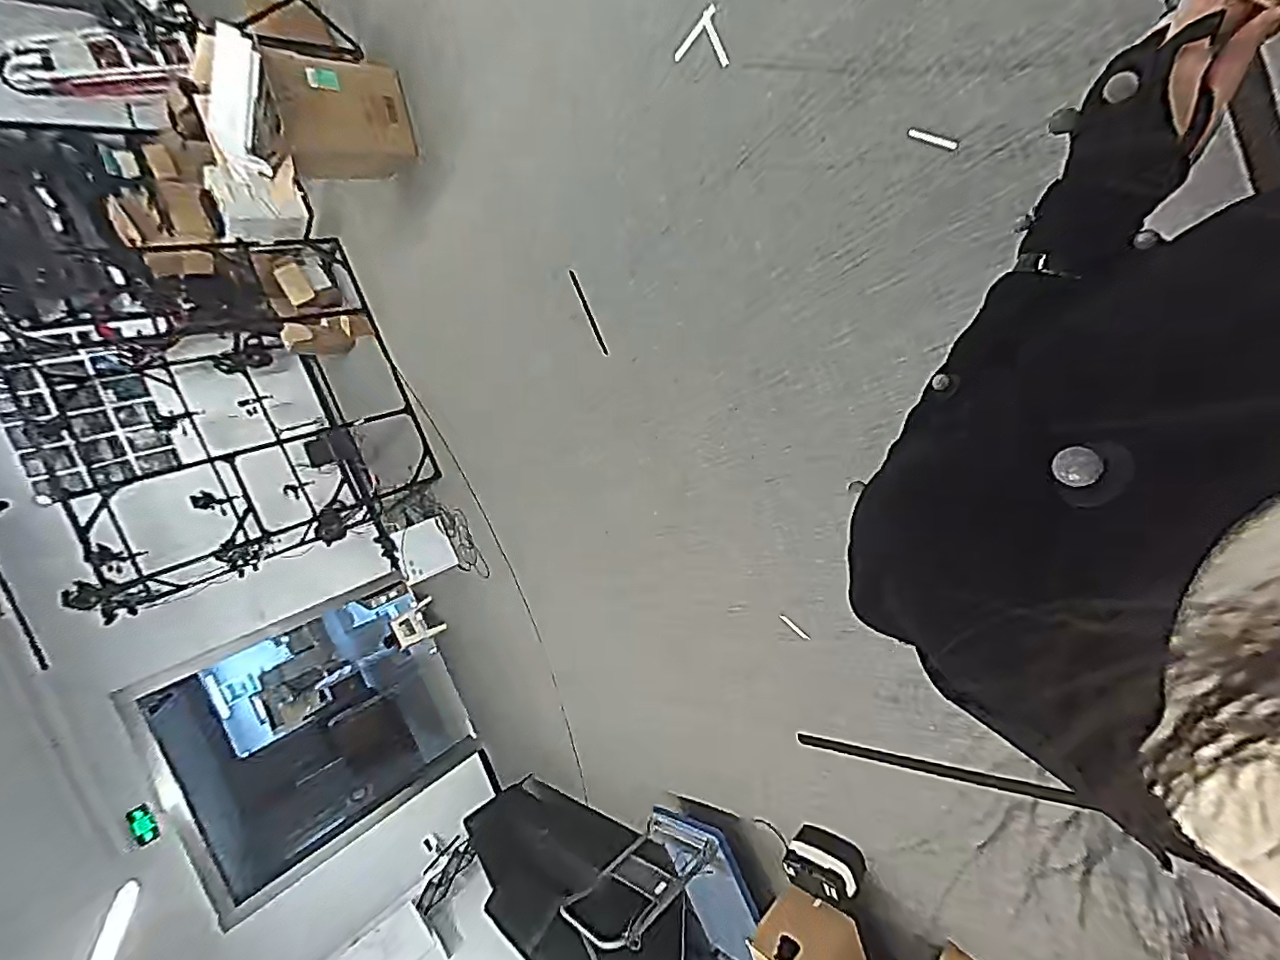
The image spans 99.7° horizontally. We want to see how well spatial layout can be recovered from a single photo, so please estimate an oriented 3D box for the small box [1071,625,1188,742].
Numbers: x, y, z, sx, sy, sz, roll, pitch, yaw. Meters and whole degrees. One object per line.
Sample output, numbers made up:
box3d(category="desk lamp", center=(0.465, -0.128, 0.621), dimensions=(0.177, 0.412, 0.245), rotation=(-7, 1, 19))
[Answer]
box3d(category="small box", center=(1.118, 0.452, 1.234), dimensions=(0.168, 0.176, 0.179), rotation=(-8, 104, 51))
